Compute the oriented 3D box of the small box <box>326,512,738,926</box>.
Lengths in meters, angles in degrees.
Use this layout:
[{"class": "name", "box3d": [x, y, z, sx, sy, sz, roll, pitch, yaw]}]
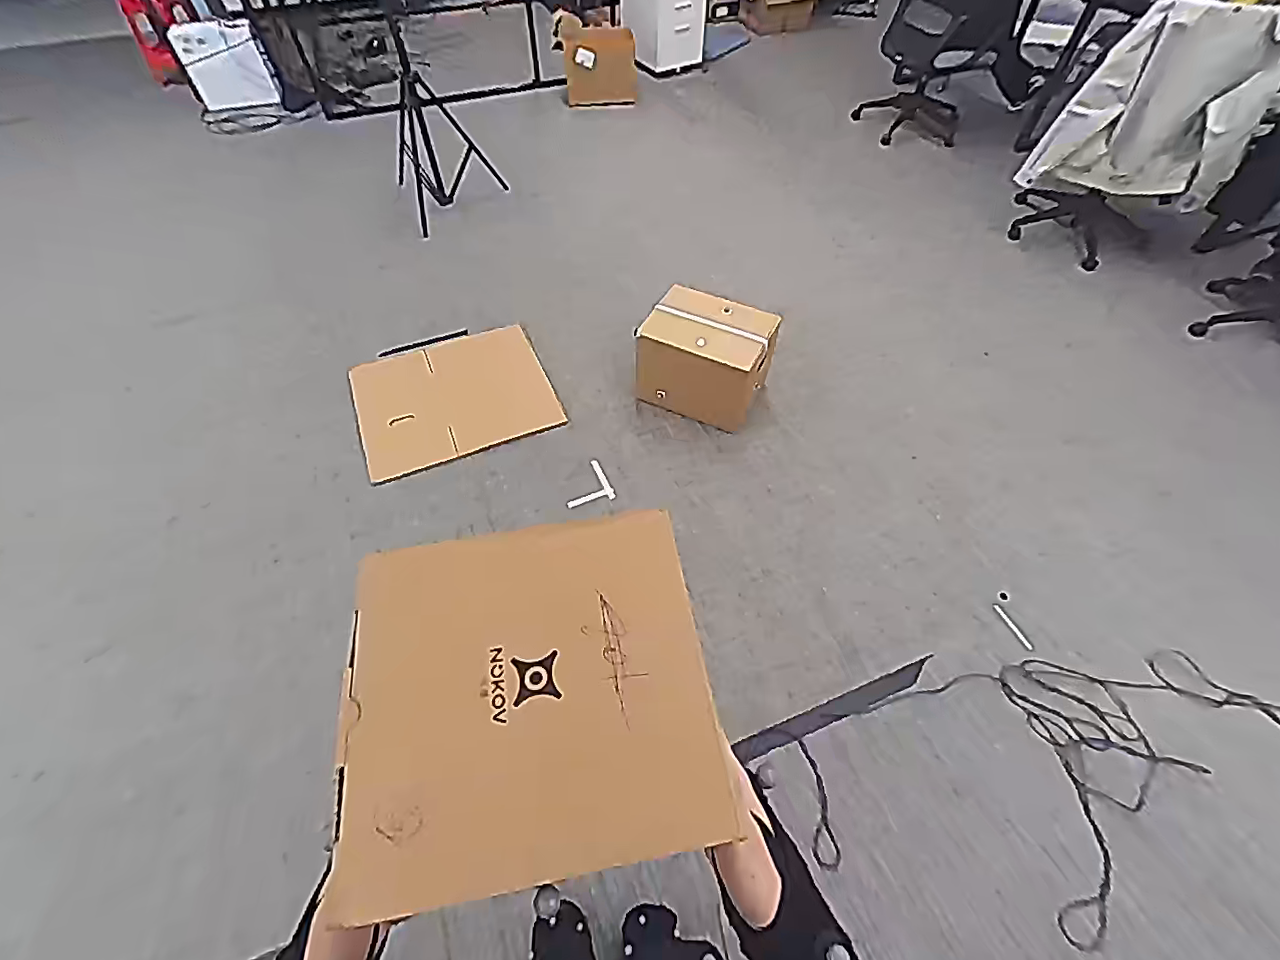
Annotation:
[{"class": "small box", "box3d": [-0.056, 0.141, 0.332, 0.179, 0.176, 0.168, -9, 59, -7]}]
